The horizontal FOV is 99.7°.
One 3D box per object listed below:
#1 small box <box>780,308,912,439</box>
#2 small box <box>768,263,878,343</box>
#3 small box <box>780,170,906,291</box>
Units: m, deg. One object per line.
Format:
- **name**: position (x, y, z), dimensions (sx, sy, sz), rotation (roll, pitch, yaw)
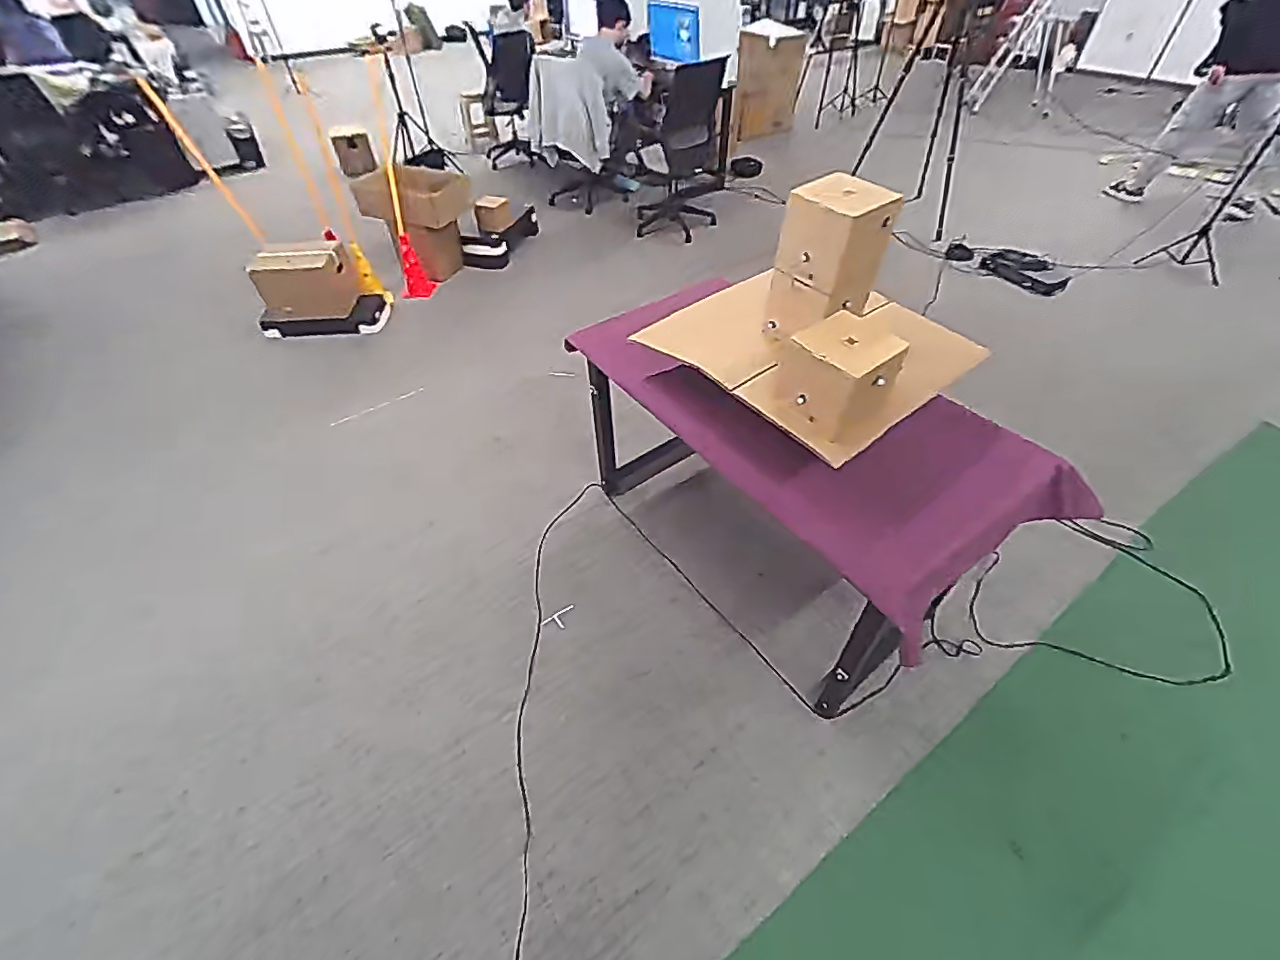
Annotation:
- **small box**: position (0.412, -0.219, 1.114), dimensions (0.179, 0.176, 0.168), rotation (-31, 56, -24)
- **small box**: position (0.426, -0.431, 1.296), dimensions (0.179, 0.176, 0.168), rotation (-31, 57, -25)
- **small box**: position (0.430, -0.540, 1.173), dimensions (0.179, 0.176, 0.168), rotation (-31, 56, -24)
